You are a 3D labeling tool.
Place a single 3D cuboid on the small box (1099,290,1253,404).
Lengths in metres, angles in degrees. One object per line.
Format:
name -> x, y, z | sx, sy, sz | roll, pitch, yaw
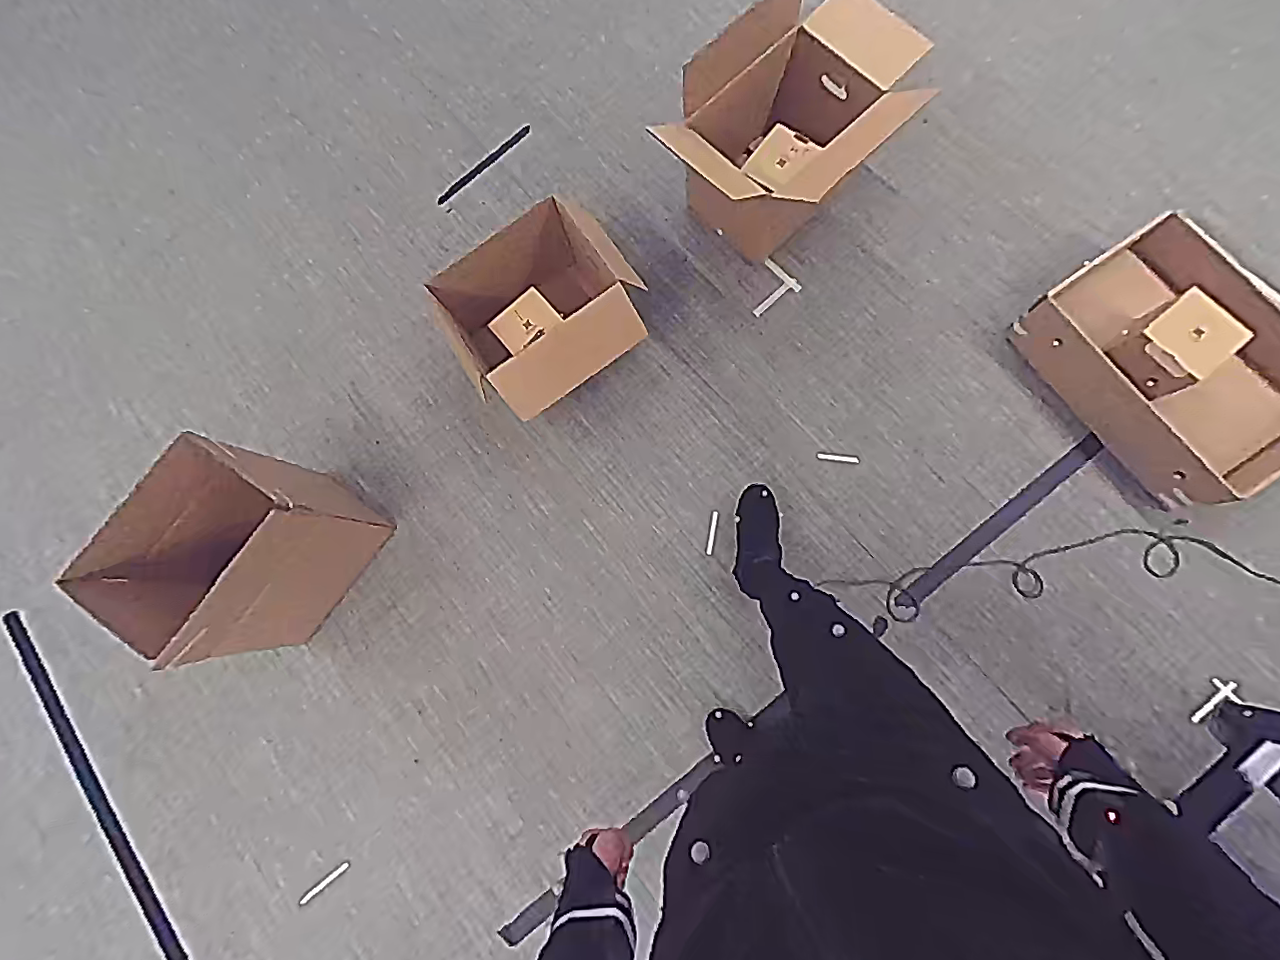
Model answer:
small box -> 1.272, -0.310, 1.305 | 0.179, 0.176, 0.168 | -39, 79, -2
